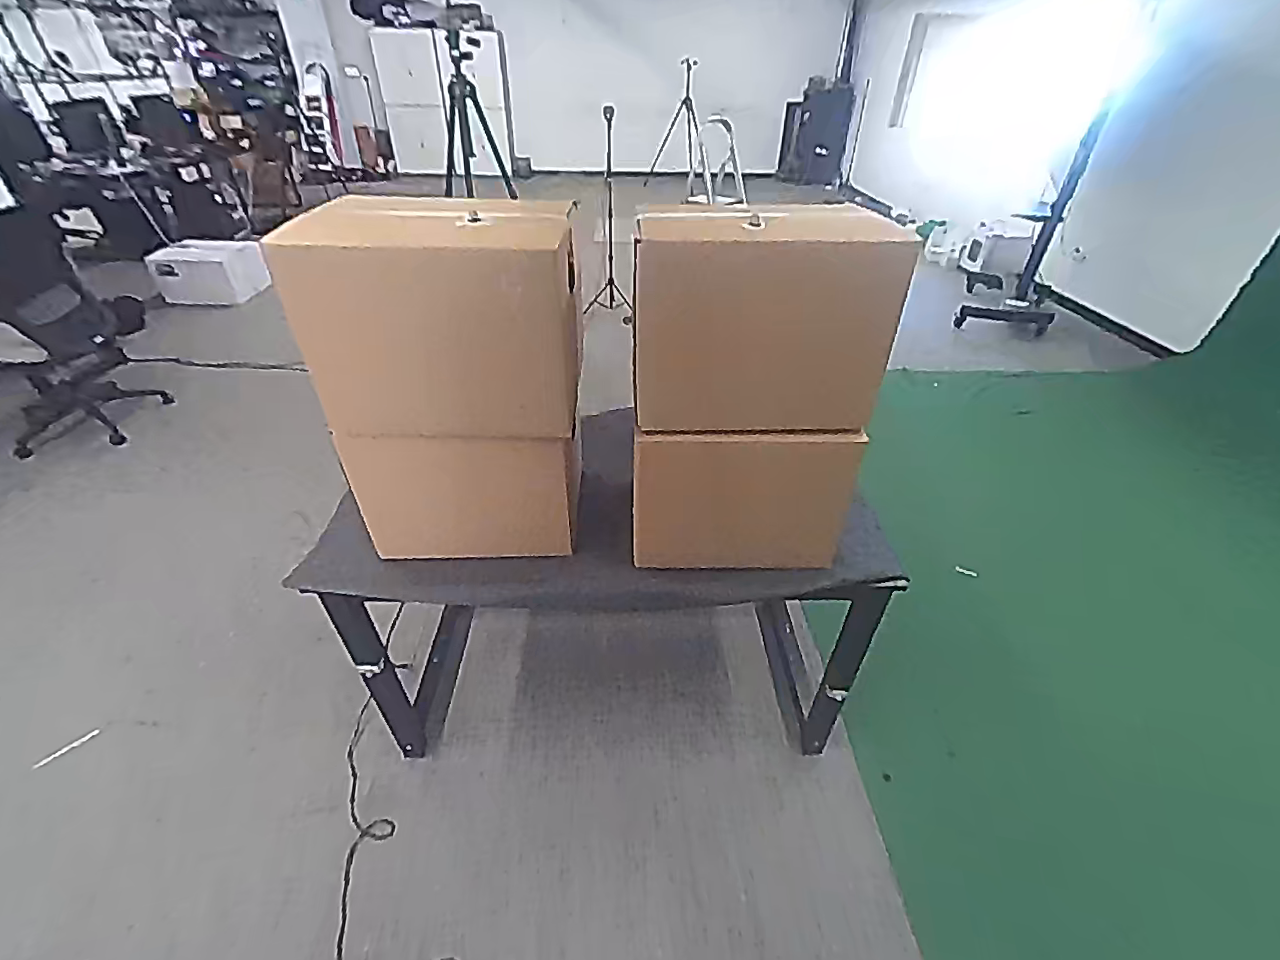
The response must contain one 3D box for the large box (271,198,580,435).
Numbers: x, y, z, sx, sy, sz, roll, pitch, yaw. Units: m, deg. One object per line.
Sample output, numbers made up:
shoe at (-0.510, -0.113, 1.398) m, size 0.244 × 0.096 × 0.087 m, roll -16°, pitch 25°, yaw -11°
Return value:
large box at (-0.317, -0.288, 0.947) m, size 0.408 × 0.320 × 0.320 m, roll 2°, pitch 39°, yaw -3°
